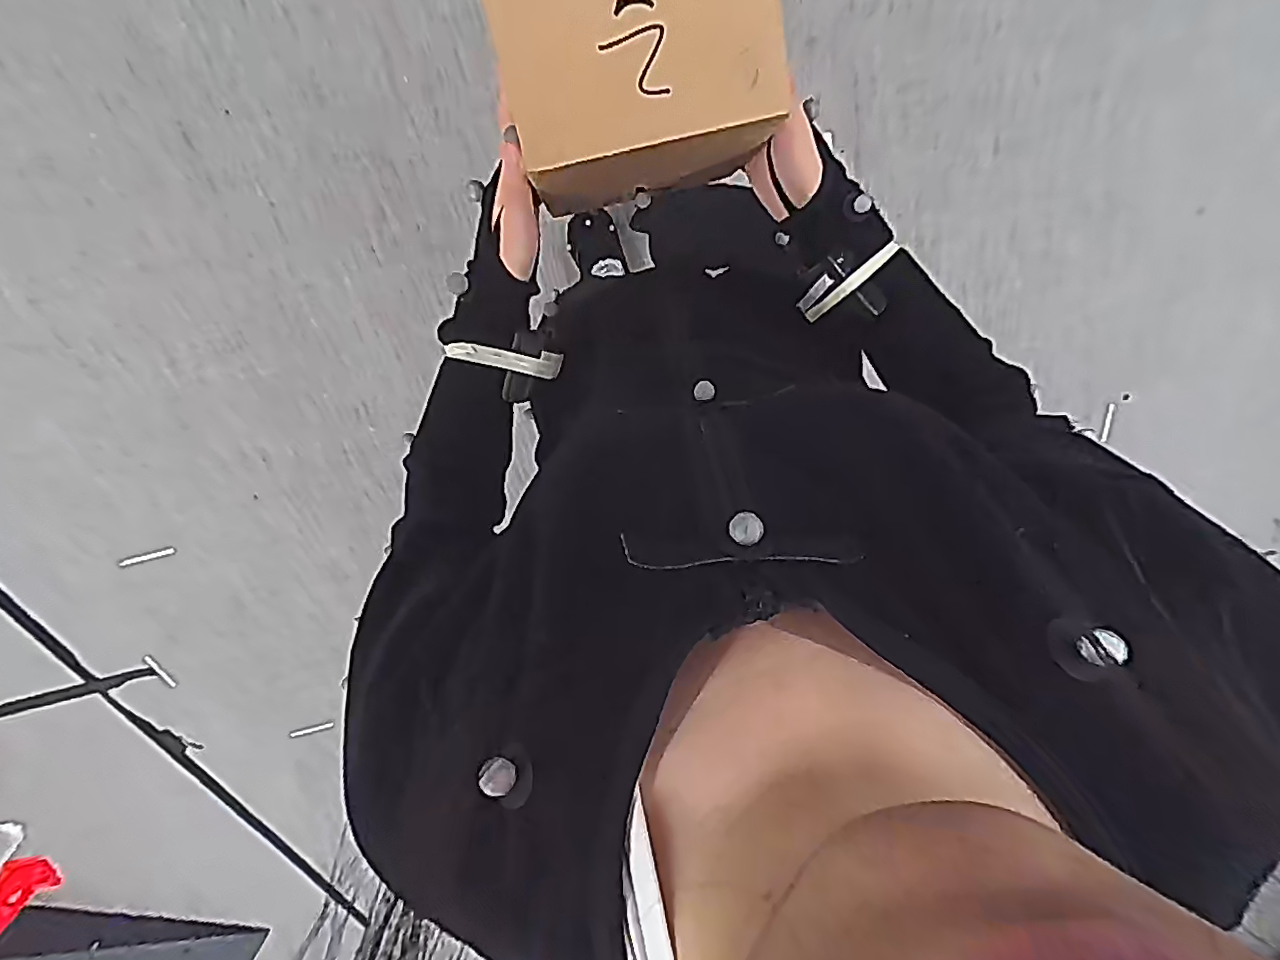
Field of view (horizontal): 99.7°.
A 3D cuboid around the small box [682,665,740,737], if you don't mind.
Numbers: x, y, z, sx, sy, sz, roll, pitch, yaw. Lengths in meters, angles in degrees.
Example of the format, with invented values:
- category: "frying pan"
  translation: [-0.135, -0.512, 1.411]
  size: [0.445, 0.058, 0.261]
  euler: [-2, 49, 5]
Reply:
- category: "small box"
  translation: [0.260, 0.810, 2.002]
  size: [0.168, 0.176, 0.179]
  euler: [-13, 121, -1]

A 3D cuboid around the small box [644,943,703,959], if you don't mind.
- category: "small box"
  translation: [0.099, 1.395, 1.453]
  size: [0.179, 0.176, 0.168]
  euler: [-14, 120, -2]
